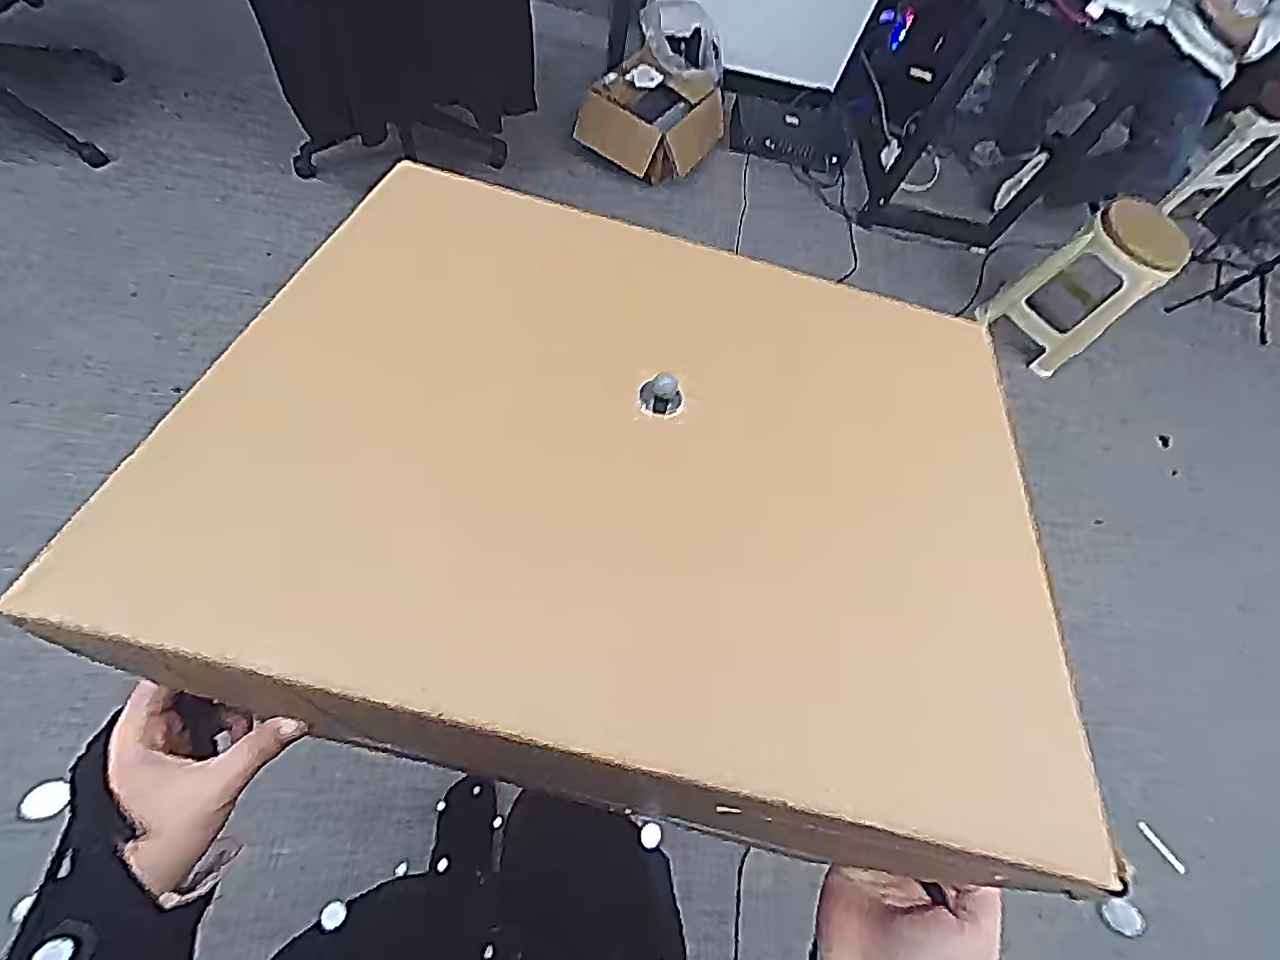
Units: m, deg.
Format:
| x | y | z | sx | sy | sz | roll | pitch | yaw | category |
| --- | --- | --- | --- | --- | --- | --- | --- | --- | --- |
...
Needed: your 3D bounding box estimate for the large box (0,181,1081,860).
| x | y | z | sx | sy | sz | roll | pitch | yaw | category |
| --- | --- | --- | --- | --- | --- | --- | --- | --- | --- |
| -0.030 | 0.044 | 0.395 | 0.408 | 0.320 | 0.320 | 13 | 58 | -1 | large box |
